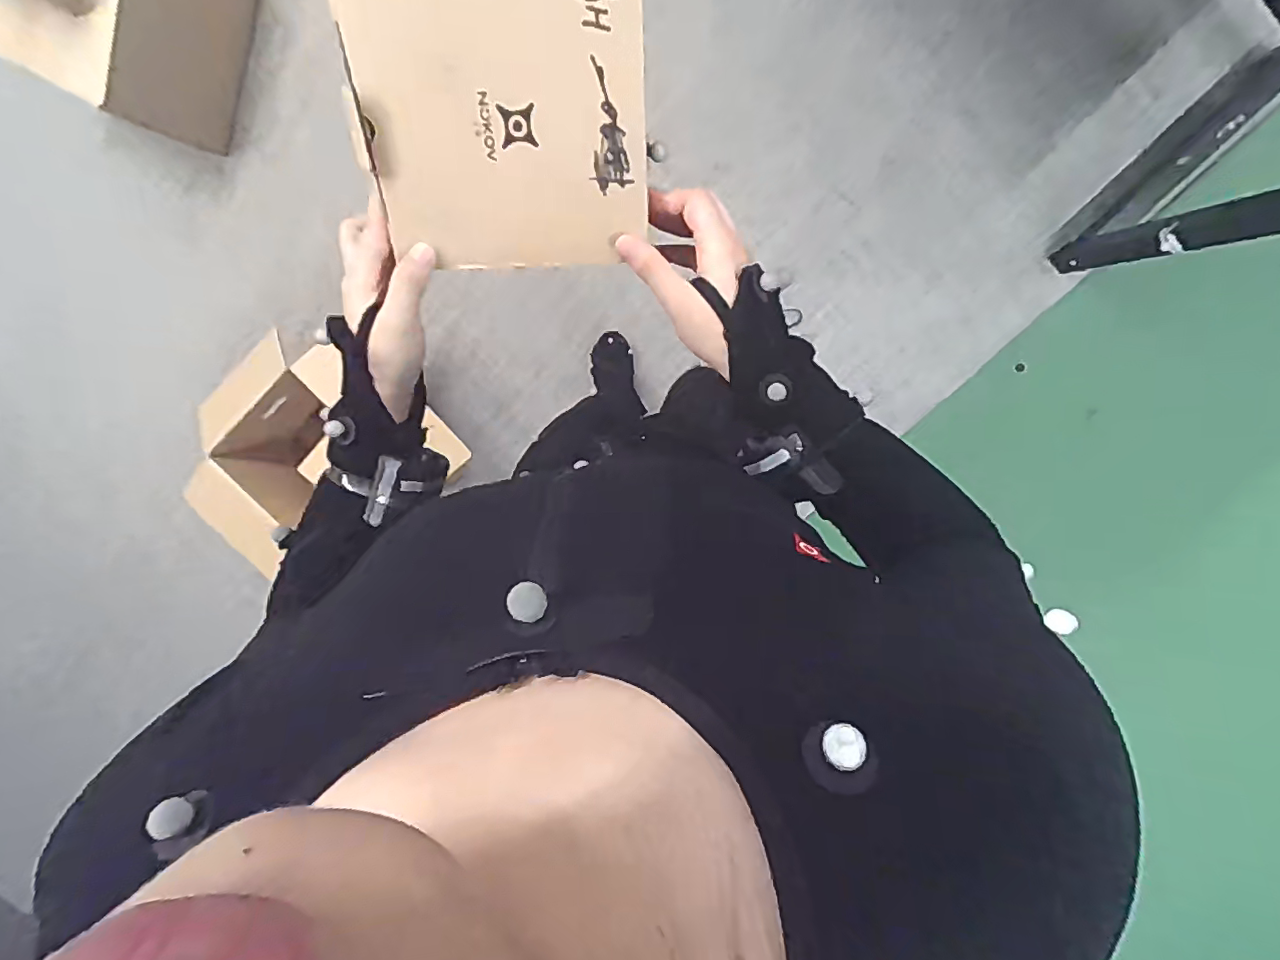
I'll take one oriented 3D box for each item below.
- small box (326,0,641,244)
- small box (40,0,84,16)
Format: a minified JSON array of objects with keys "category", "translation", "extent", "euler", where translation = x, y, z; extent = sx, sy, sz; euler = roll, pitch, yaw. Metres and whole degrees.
[{"category":"small box","translation":[-0.089,-0.273,0.395],"extent":[0.179,0.176,0.168],"euler":[-1,123,1]},{"category":"small box","translation":[-1.095,-0.955,0.919],"extent":[0.168,0.176,0.179],"euler":[25,105,-4]}]
